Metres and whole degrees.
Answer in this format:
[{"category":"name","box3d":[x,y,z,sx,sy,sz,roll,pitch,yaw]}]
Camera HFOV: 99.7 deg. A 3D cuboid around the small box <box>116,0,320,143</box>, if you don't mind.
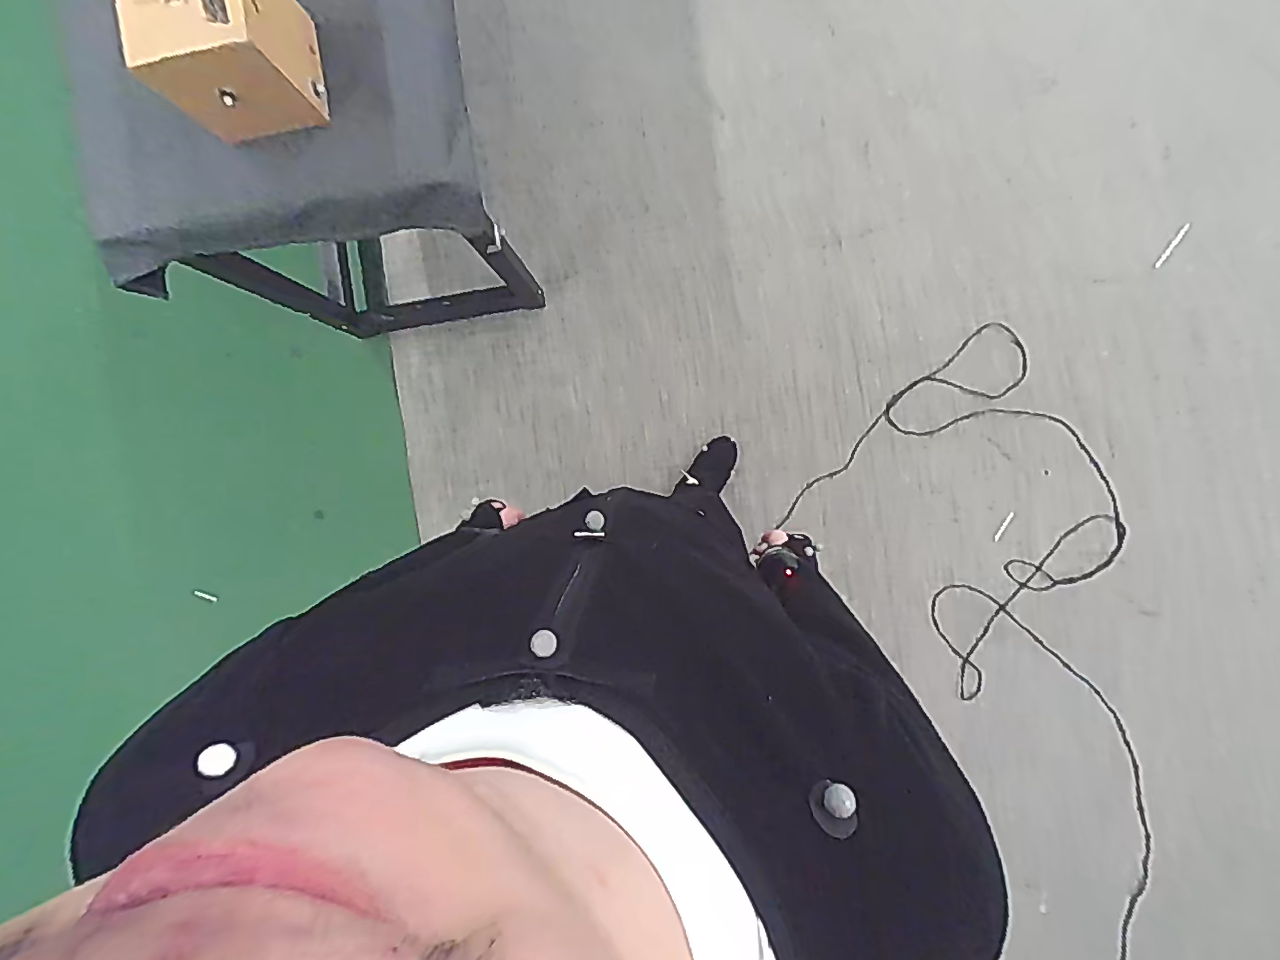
[{"category":"small box","box3d":[-0.597,-0.631,0.786,0.179,0.176,0.168,-10,90,3]}]
